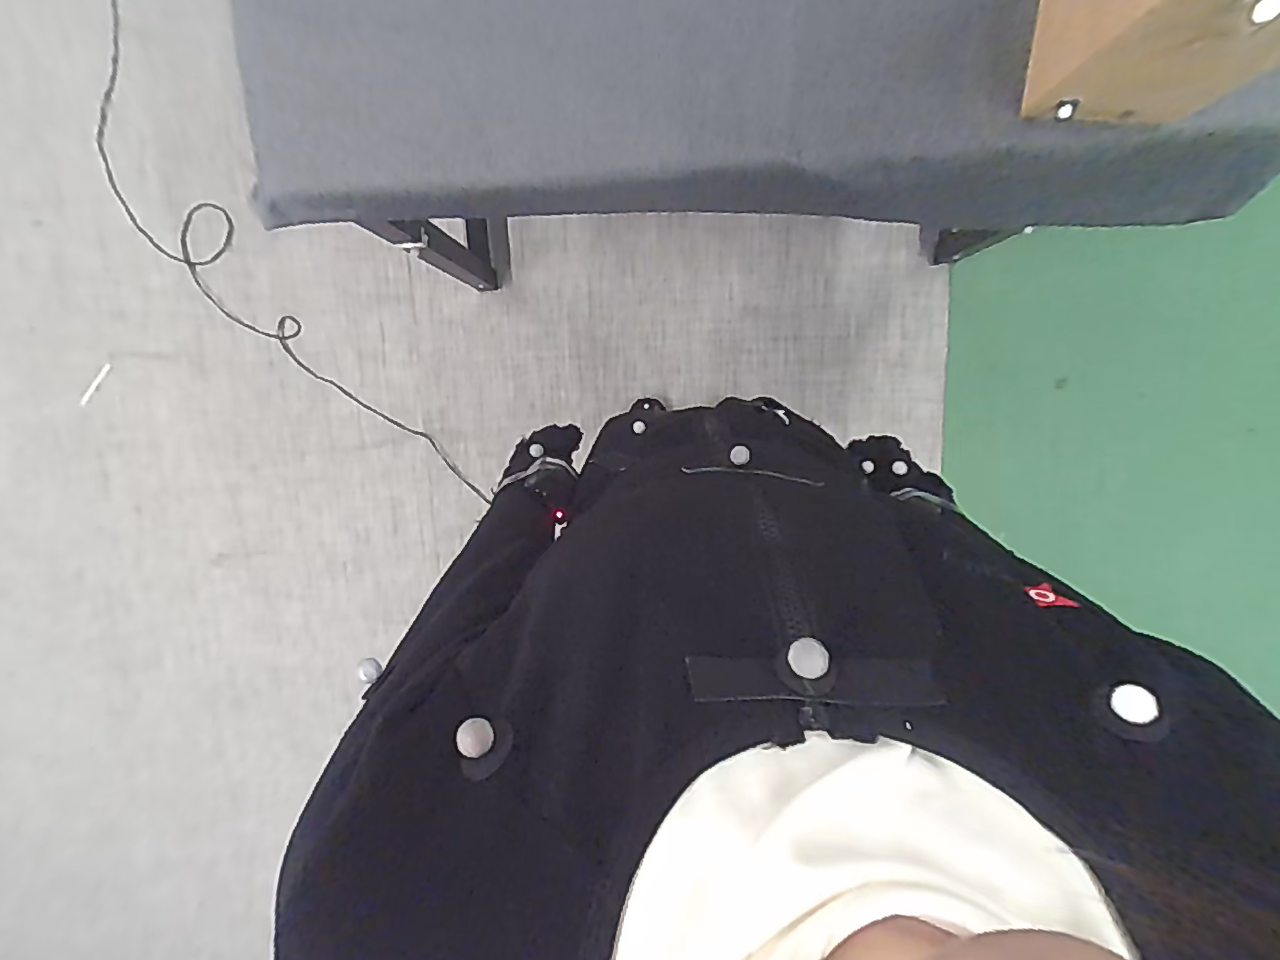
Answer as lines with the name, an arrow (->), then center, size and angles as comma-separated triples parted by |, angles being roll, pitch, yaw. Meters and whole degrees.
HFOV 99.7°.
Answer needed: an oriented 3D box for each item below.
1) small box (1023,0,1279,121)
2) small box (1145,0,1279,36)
small box -> 0.513, -0.481, 0.522 | 0.168, 0.176, 0.179 | 6, 98, 2
small box -> 0.503, -0.453, 0.364 | 0.168, 0.176, 0.179 | 6, 100, 3
